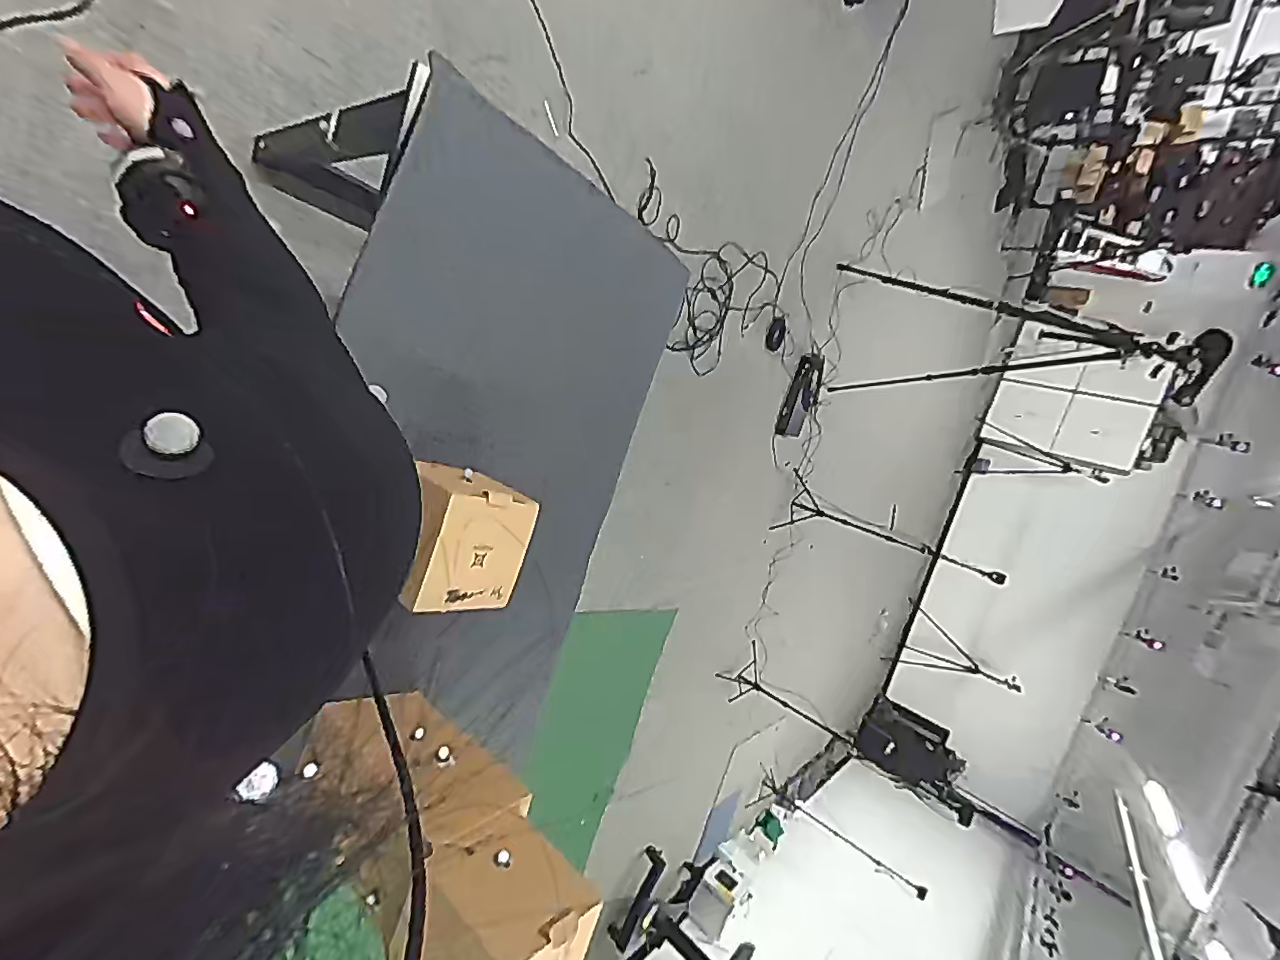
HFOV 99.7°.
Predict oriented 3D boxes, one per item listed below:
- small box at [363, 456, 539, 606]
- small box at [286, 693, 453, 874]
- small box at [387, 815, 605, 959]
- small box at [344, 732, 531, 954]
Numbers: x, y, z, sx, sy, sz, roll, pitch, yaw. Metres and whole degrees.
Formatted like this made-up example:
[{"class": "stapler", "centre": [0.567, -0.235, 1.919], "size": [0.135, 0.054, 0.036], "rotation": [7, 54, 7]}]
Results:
[{"class": "small box", "centre": [-0.288, 0.074, 0.820], "size": [0.168, 0.176, 0.179], "rotation": [14, 95, -54]}, {"class": "small box", "centre": [-0.413, 0.457, 0.854], "size": [0.179, 0.176, 0.168], "rotation": [20, 91, -54]}, {"class": "small box", "centre": [-0.177, 0.555, 0.648], "size": [0.168, 0.176, 0.179], "rotation": [15, 95, -56]}, {"class": "small box", "centre": [-0.286, 0.496, 0.759], "size": [0.168, 0.176, 0.179], "rotation": [6, 101, -55]}]
